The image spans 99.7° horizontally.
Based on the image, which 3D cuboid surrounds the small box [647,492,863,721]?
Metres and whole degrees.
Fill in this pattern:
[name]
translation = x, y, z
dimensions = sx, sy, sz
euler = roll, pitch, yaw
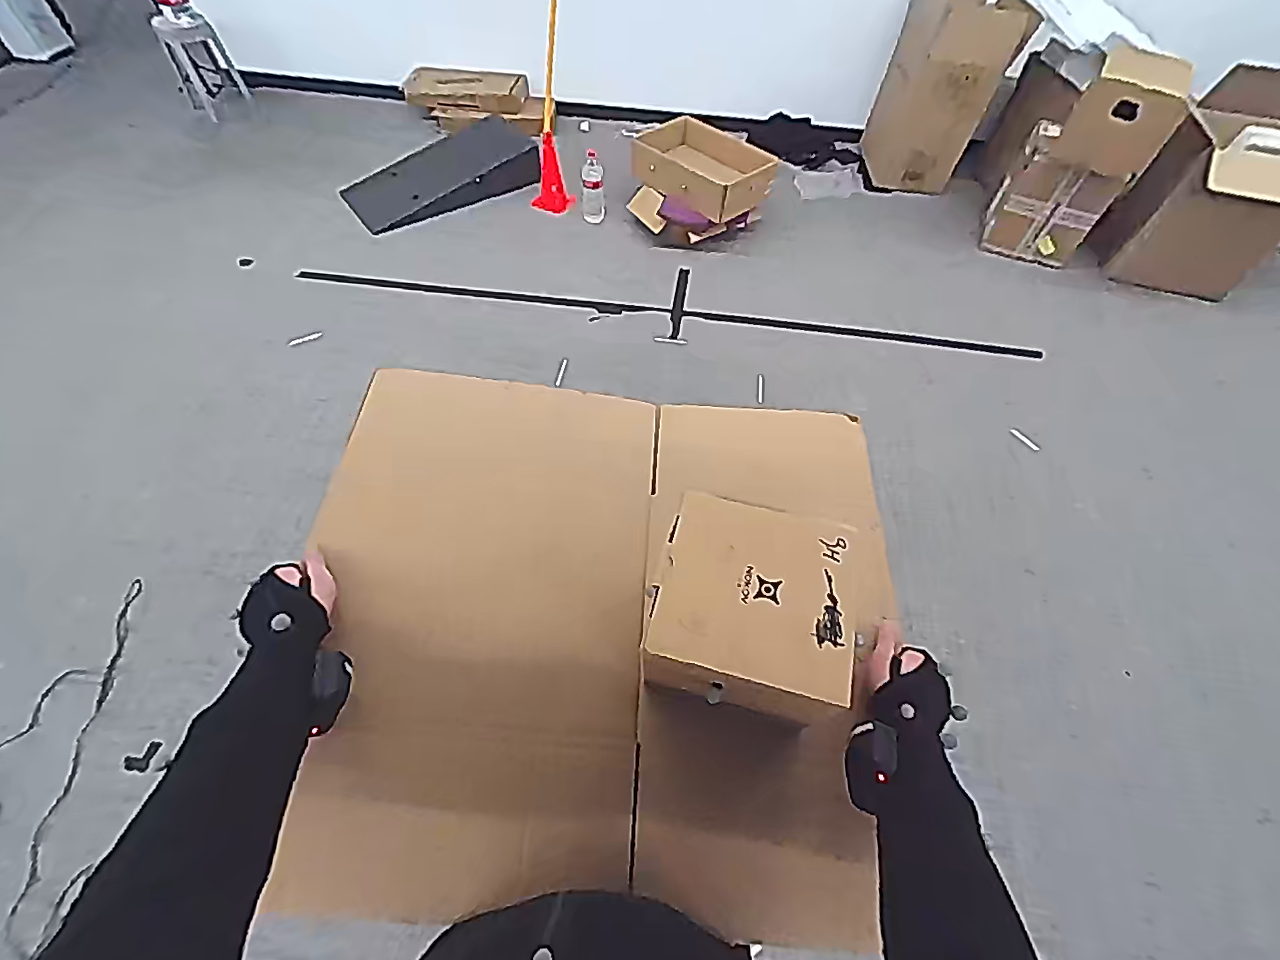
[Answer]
[small box]
translation = 0.113, 0.138, 0.564
dimensions = 0.179, 0.176, 0.168
euler = 13, 61, 9
